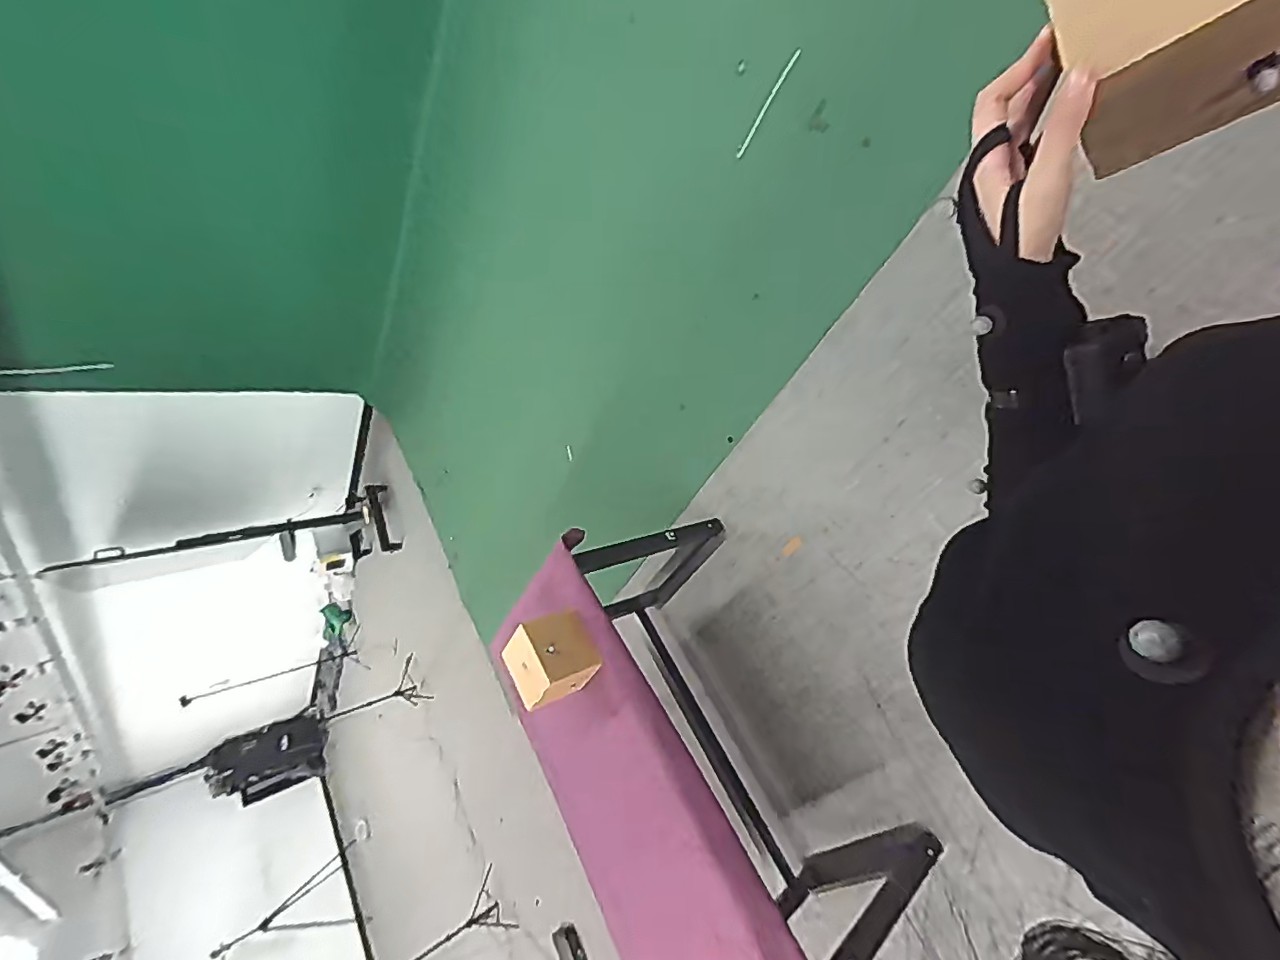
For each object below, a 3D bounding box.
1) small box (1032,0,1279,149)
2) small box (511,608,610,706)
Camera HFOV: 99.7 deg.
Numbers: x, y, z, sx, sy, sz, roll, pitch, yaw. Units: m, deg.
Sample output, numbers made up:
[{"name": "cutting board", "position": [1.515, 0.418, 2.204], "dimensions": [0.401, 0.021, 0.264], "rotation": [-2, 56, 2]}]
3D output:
[{"name": "small box", "position": [0.325, -0.322, 0.303], "dimensions": [0.168, 0.176, 0.179], "rotation": [-16, 86, 44]}, {"name": "small box", "position": [-0.212, 0.460, 1.438], "dimensions": [0.179, 0.176, 0.168], "rotation": [54, 131, 26]}]
